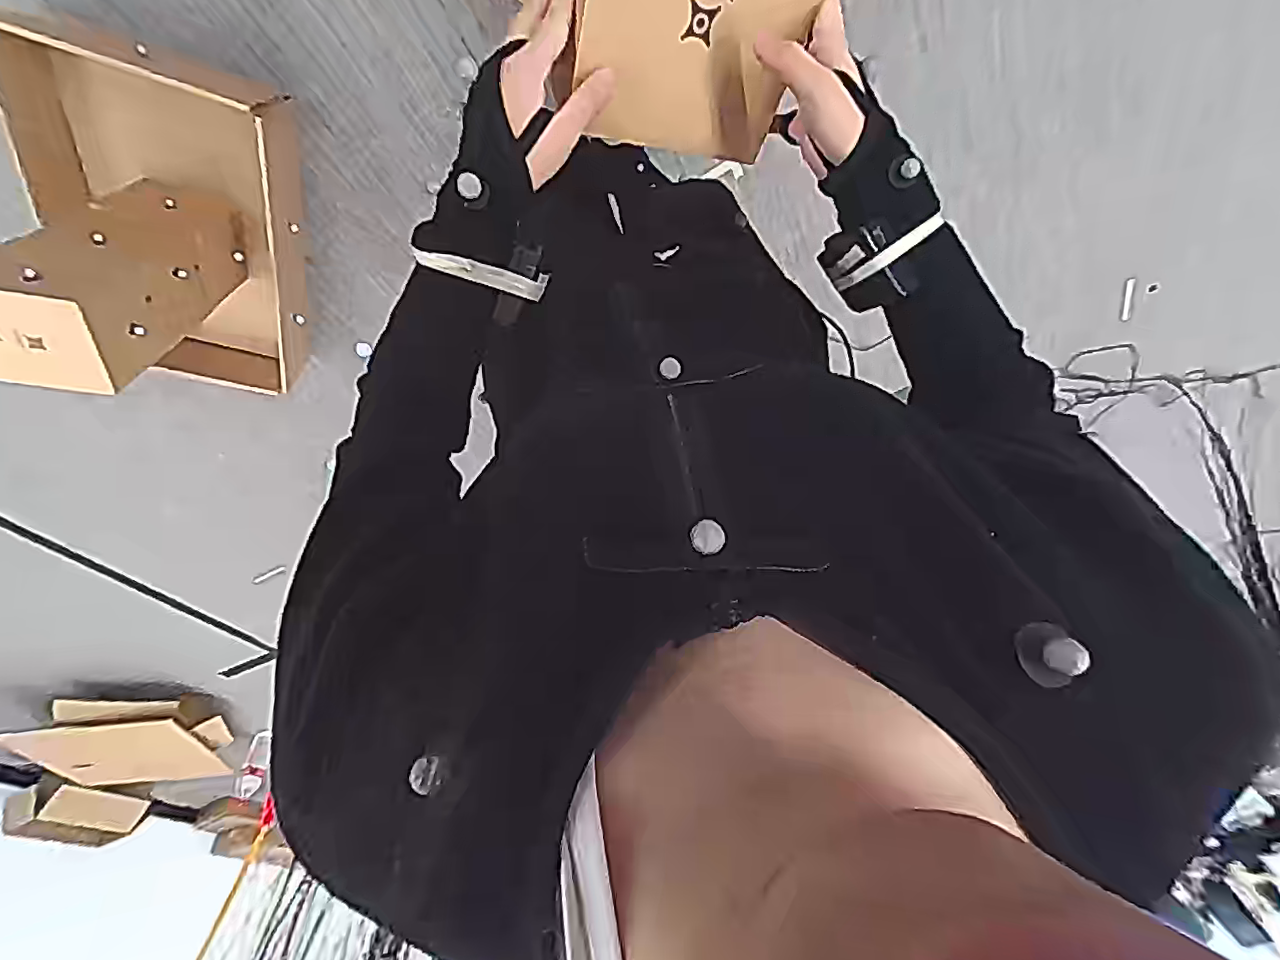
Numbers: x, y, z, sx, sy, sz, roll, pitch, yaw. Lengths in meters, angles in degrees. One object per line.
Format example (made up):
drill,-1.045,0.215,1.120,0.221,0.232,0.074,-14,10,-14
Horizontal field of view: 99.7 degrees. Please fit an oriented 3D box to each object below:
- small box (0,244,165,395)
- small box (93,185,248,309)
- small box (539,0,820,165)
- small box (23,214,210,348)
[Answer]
small box,-0.920,-0.262,0.875,0.179,0.176,0.168,7,130,-14
small box,-0.950,-0.483,1.114,0.179,0.176,0.168,10,131,-17
small box,0.022,-0.380,0.410,0.168,0.176,0.179,-3,145,-21
small box,-0.939,-0.370,0.999,0.179,0.176,0.168,8,130,-13
